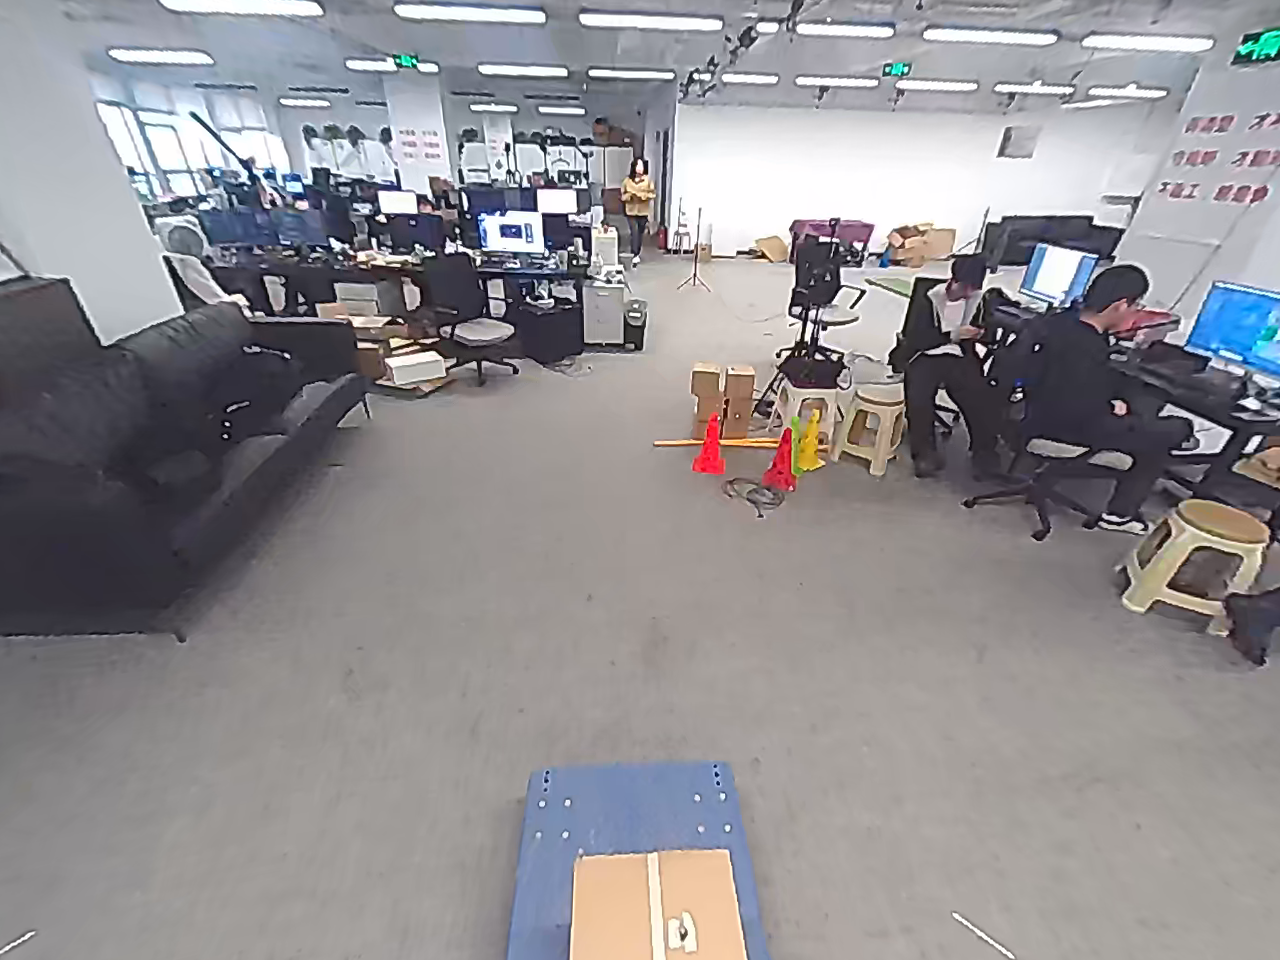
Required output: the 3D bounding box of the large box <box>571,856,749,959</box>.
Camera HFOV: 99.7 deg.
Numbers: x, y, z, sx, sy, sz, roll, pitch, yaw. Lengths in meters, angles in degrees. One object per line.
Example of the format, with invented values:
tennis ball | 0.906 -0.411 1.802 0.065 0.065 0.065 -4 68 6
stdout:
large box | 0.038 0.982 0.971 0.320 0.320 0.408 0 30 -3
